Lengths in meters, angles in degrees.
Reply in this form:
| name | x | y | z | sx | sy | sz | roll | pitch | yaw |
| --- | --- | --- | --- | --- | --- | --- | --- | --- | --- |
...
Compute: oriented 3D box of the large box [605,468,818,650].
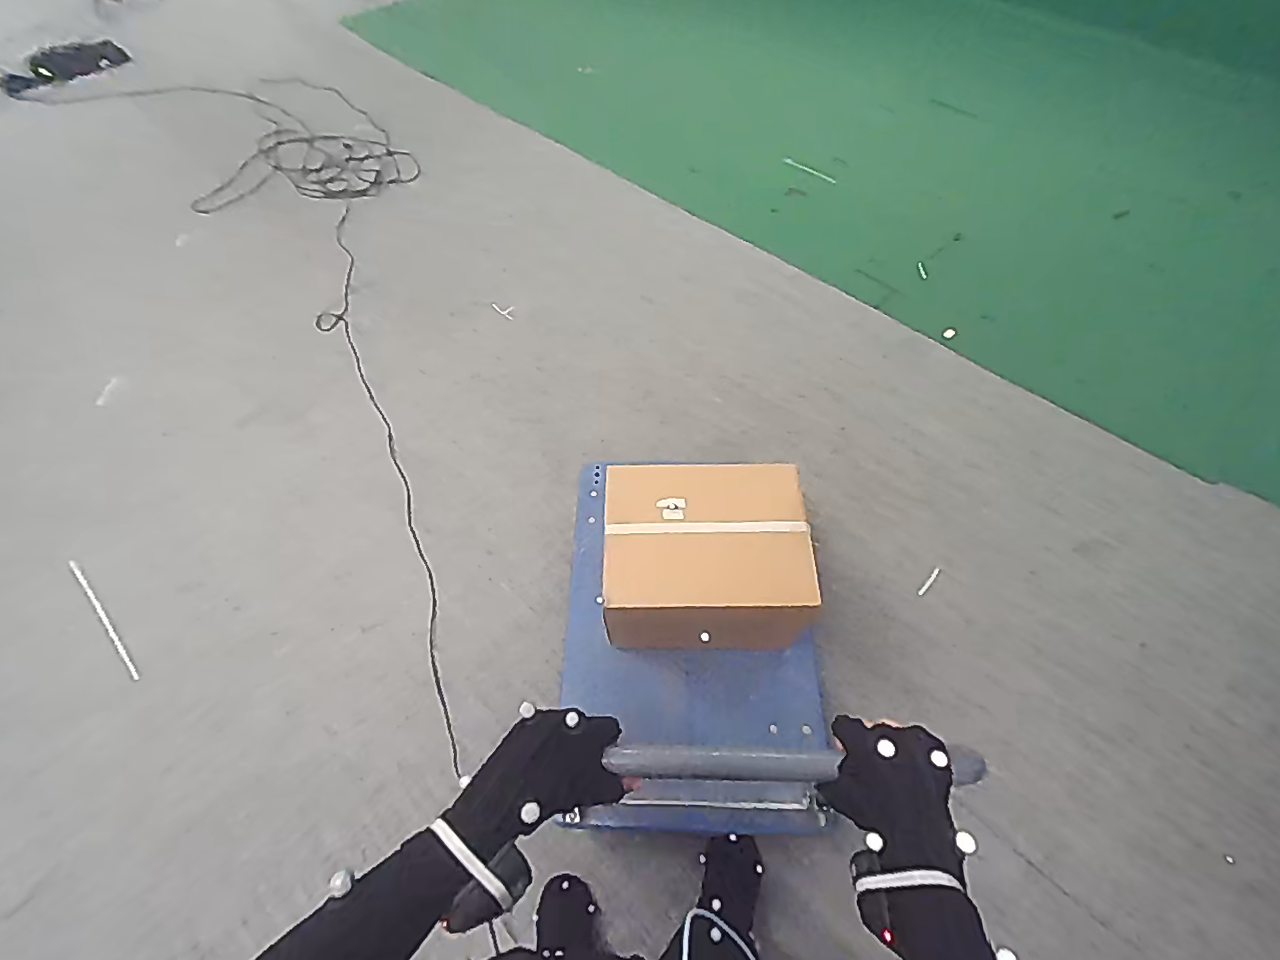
| name | x | y | z | sx | sy | sz | roll | pitch | yaw |
| --- | --- | --- | --- | --- | --- | --- | --- | --- | --- |
| large box | 0.136 | 0.187 | 1.207 | 0.408 | 0.320 | 0.320 | -1 | 58 | 1 |
